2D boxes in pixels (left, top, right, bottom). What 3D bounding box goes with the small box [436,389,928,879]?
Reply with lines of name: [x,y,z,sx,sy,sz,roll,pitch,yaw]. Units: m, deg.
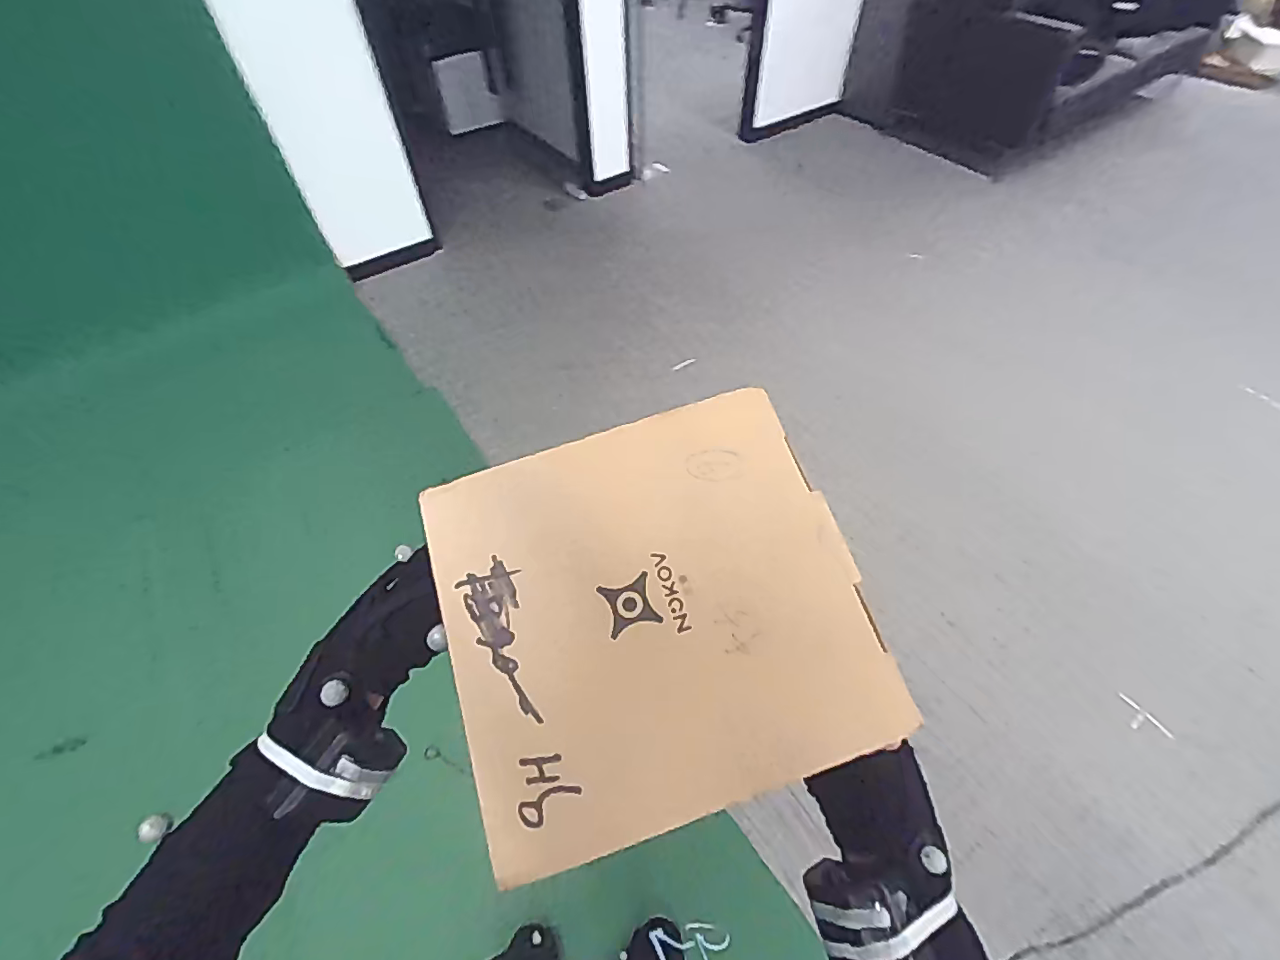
small box: [0.010,0.078,0.306,0.179,0.176,0.168,-17,69,-6]
